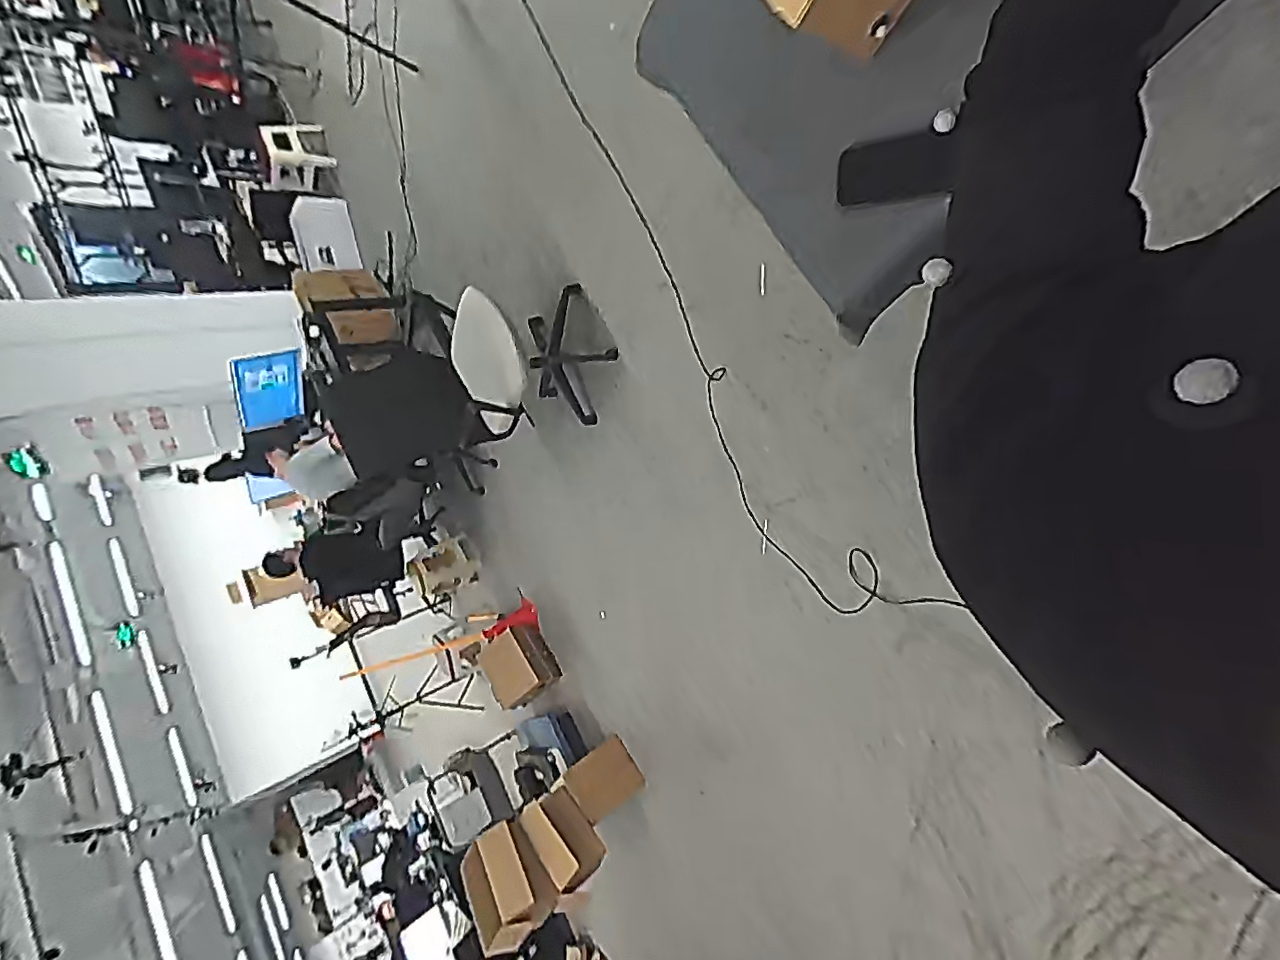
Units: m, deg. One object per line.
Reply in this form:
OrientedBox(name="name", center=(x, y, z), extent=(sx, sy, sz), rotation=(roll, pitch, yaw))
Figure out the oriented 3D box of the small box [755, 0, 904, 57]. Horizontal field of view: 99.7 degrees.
OrientedBox(name="small box", center=(0.217, -0.611, 0.598), extent=(0.179, 0.176, 0.168), rotation=(59, 140, 16))
